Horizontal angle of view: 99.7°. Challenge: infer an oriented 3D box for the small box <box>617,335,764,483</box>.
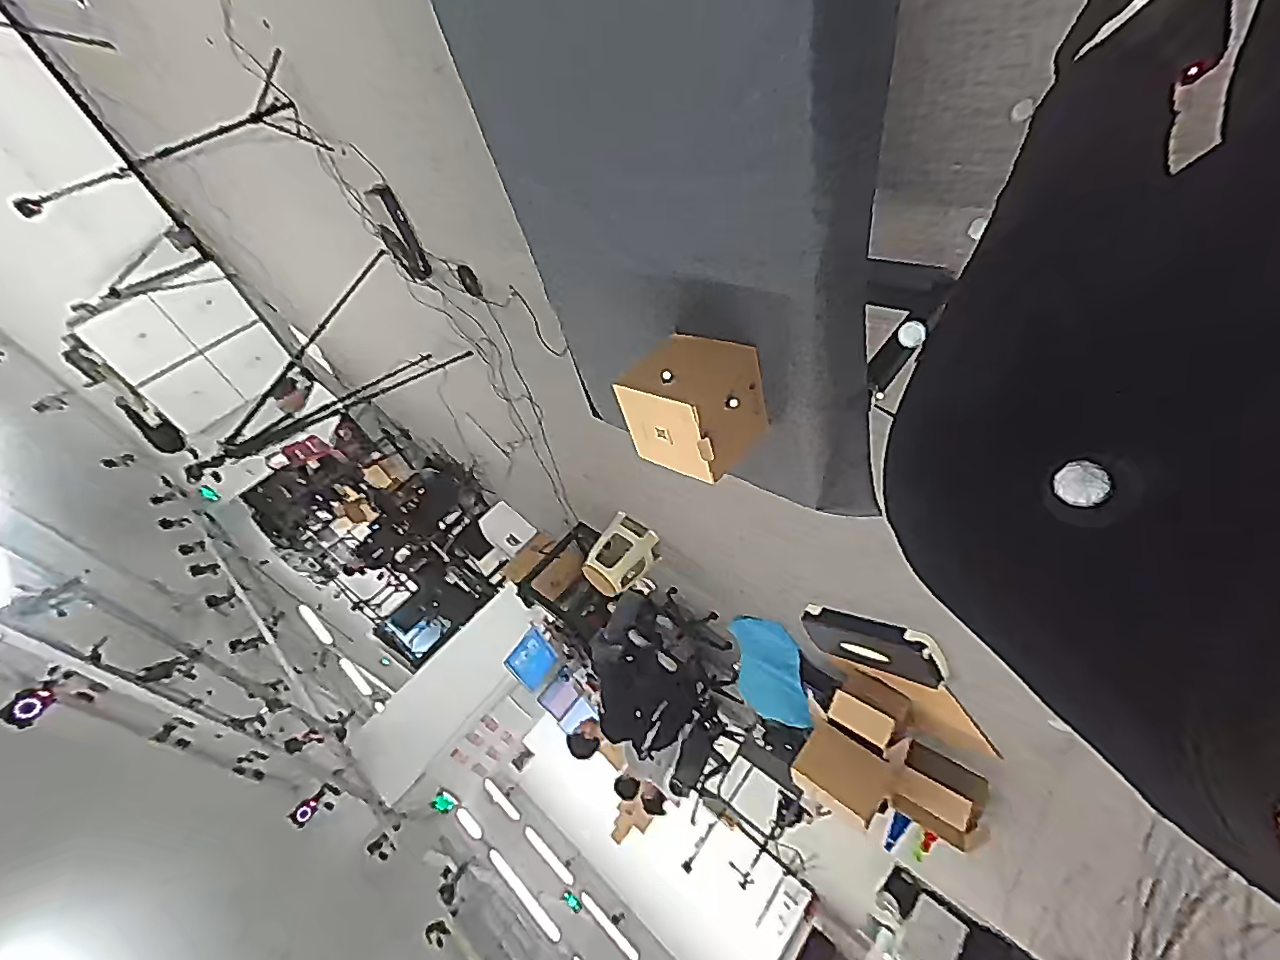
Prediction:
[{"bbox_3d":[0.096,-0.128,0.918,0.179,0.176,0.168,24,147,40],"label":"small box"}]
